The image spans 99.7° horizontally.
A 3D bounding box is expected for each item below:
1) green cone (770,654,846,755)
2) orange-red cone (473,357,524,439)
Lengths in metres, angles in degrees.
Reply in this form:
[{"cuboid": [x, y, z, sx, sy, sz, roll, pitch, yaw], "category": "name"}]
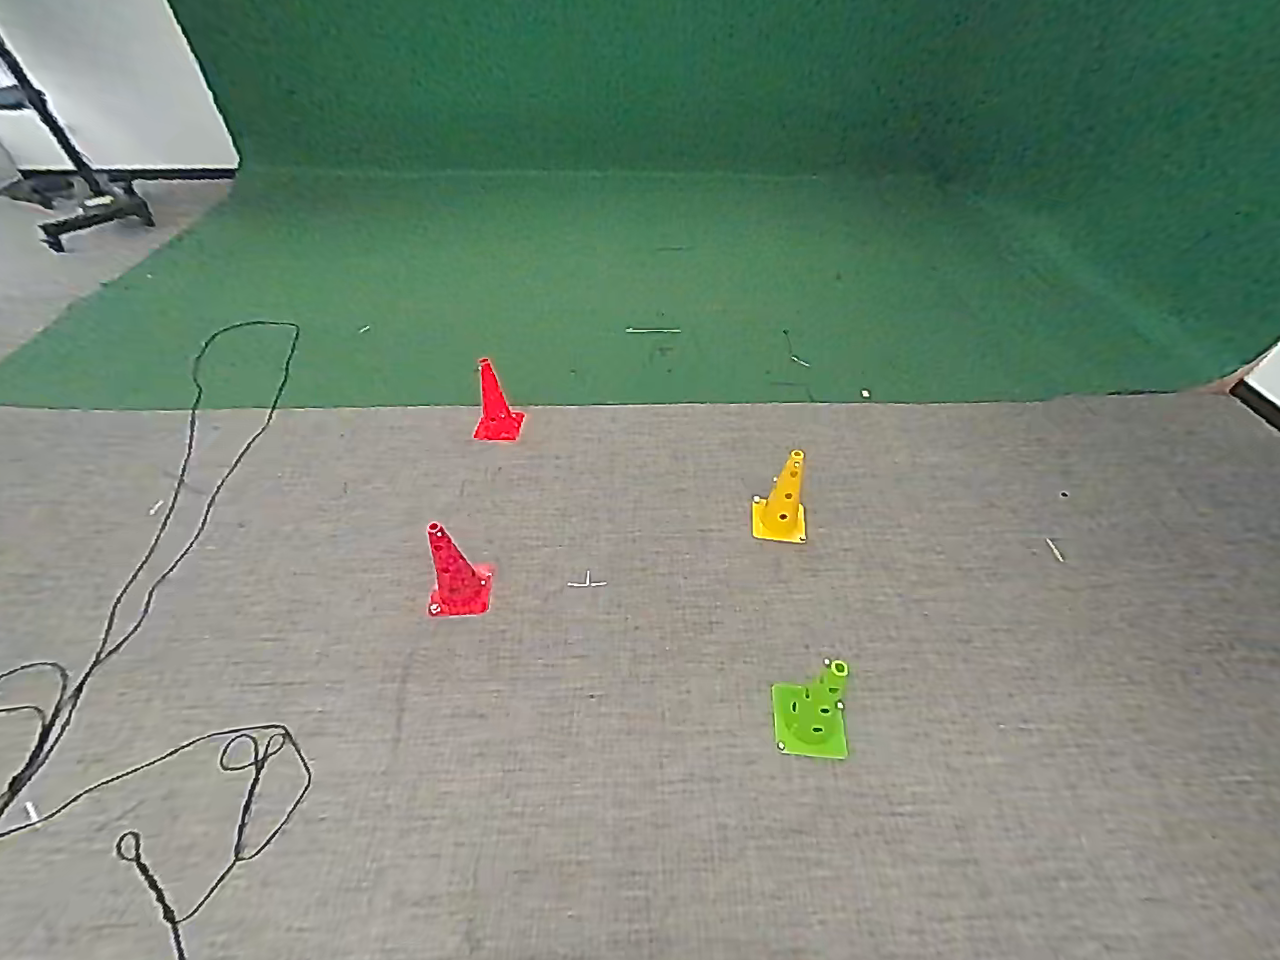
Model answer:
[{"cuboid": [0.493, 0.578, 1.466, 0.200, 0.368, 0.202, 4, 46, 3], "category": "green cone"}, {"cuboid": [-0.646, -0.372, 2.343, 0.199, 0.360, 0.198, 4, 46, 5], "category": "orange-red cone"}]
